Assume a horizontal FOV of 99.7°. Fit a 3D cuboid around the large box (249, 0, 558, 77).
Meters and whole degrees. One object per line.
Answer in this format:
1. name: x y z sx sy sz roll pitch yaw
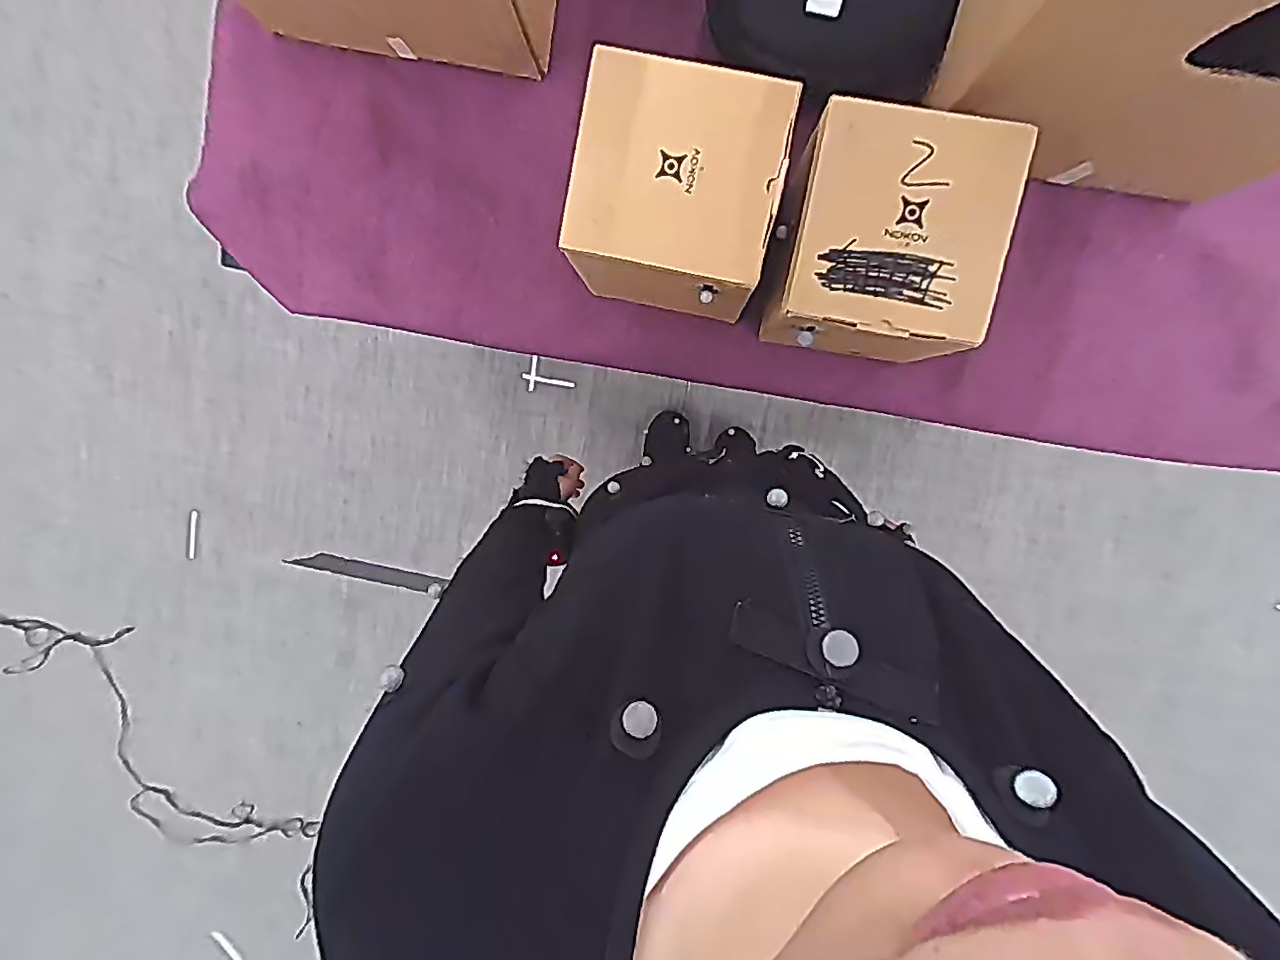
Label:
1. large box: -0.225 -0.639 0.425 0.320 0.320 0.408 9 101 1
